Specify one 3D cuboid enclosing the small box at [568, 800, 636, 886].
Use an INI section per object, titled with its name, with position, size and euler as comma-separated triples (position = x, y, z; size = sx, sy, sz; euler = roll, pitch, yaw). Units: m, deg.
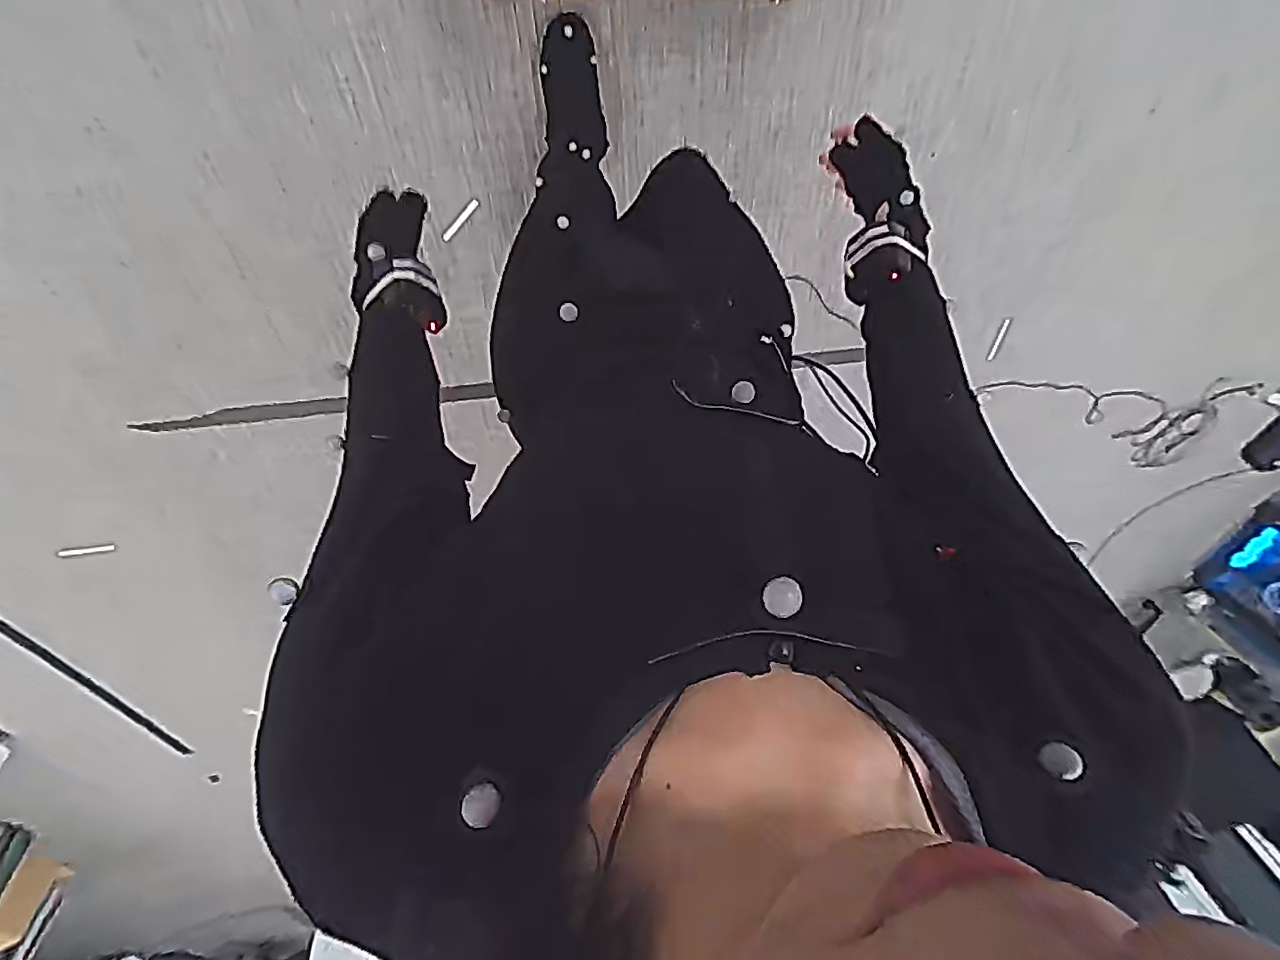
[small box]
position = -0.118, 1.123, 1.680
size = 0.179, 0.176, 0.168
euler = -11, 132, -5
